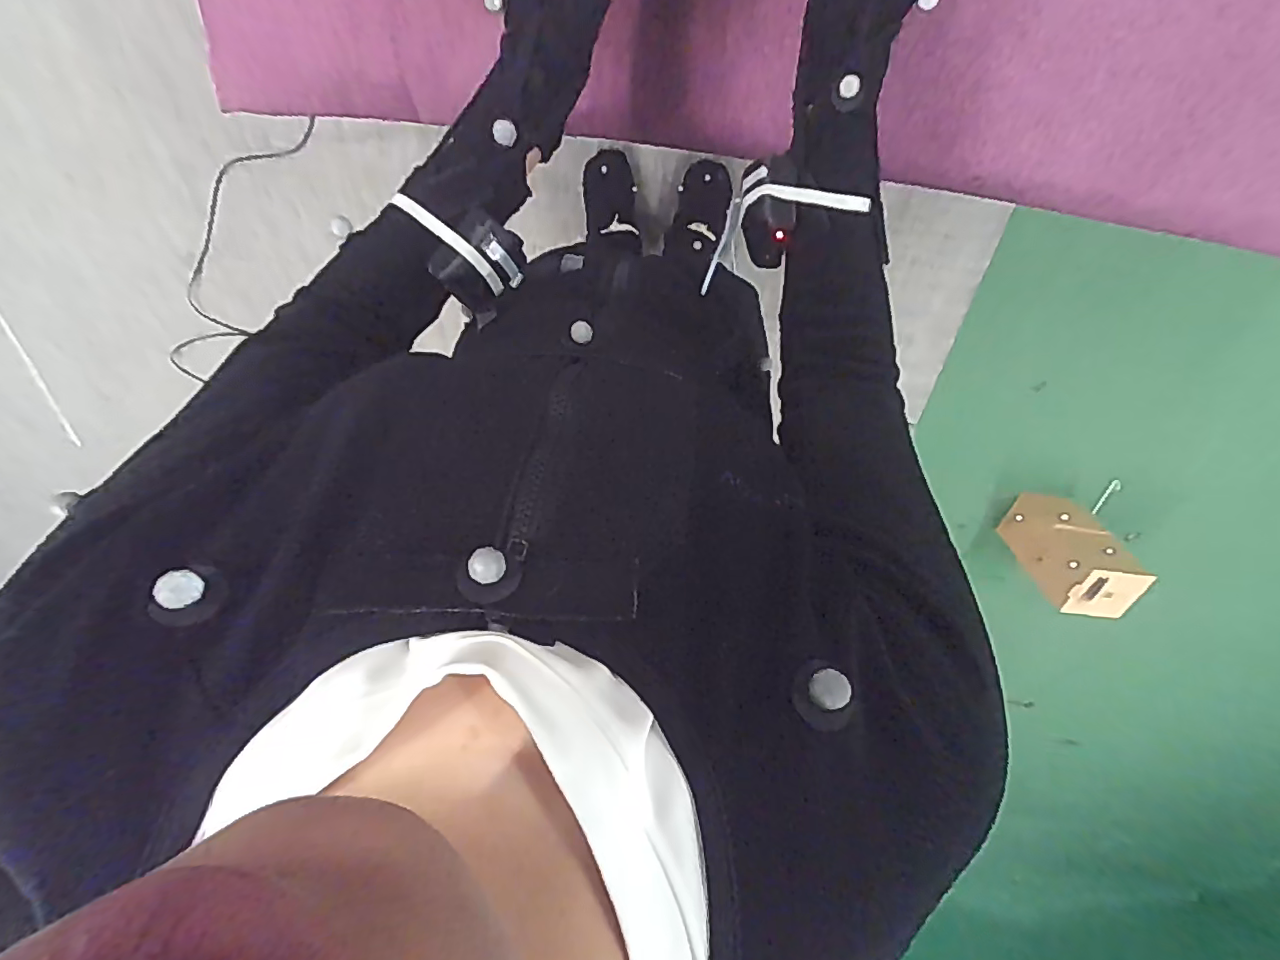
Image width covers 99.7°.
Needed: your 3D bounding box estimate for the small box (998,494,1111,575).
[{"bbox_3d":[1.242,0.161,1.636,0.179,0.176,0.168,9,125,-3],"label":"small box"}]
